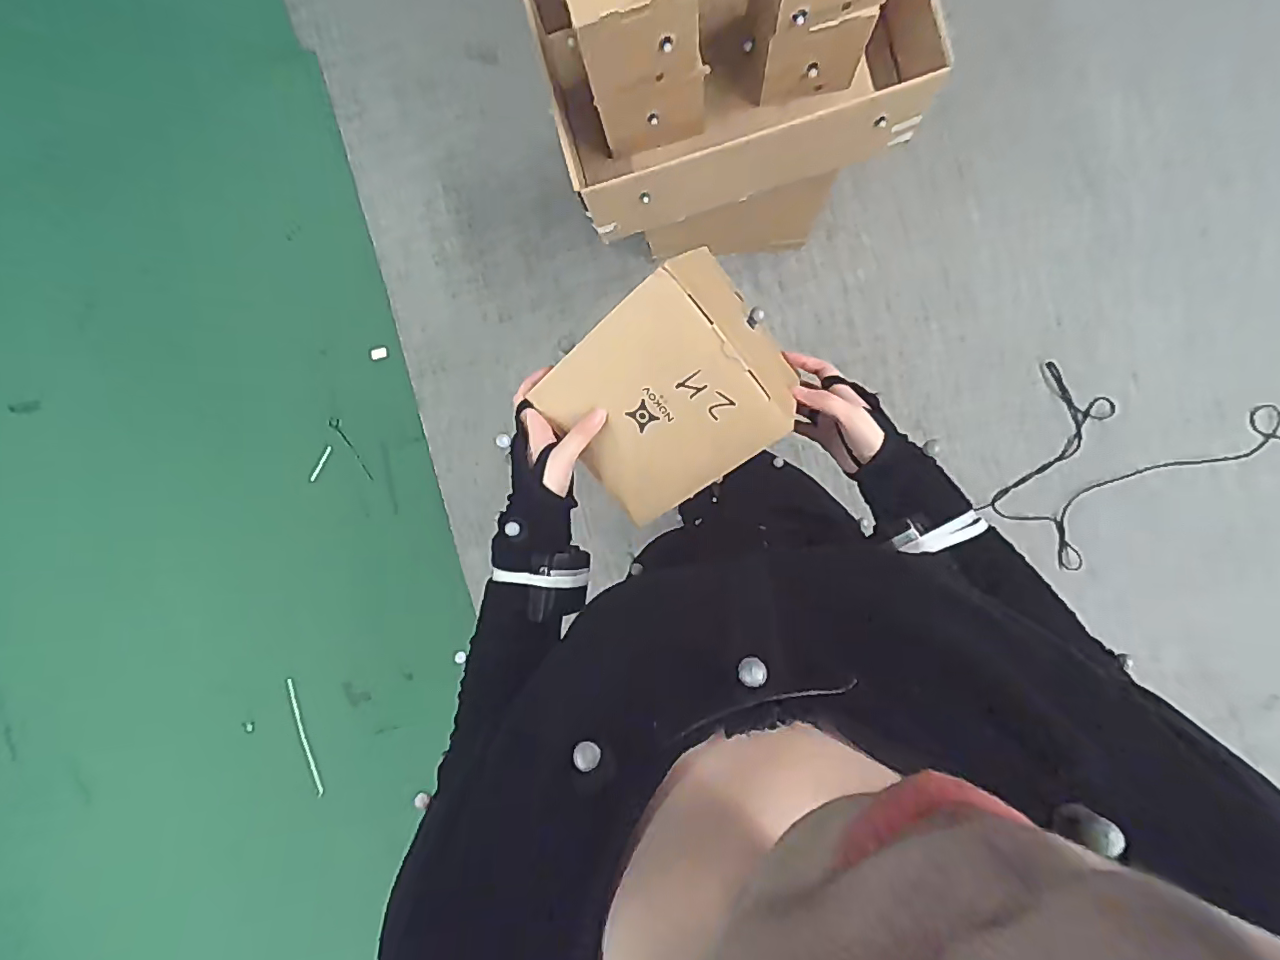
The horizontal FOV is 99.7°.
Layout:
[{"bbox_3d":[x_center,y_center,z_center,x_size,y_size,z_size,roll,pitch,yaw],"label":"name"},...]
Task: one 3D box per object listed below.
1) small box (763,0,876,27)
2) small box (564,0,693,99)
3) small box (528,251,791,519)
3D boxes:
[{"bbox_3d":[0.252,-0.769,0.733,0.168,0.176,0.179,-12,90,7],"label":"small box"},{"bbox_3d":[-0.021,-0.684,0.765,0.168,0.176,0.179,-14,90,6],"label":"small box"},{"bbox_3d":[0.032,-0.098,0.531,0.179,0.176,0.168,-35,102,29],"label":"small box"}]
